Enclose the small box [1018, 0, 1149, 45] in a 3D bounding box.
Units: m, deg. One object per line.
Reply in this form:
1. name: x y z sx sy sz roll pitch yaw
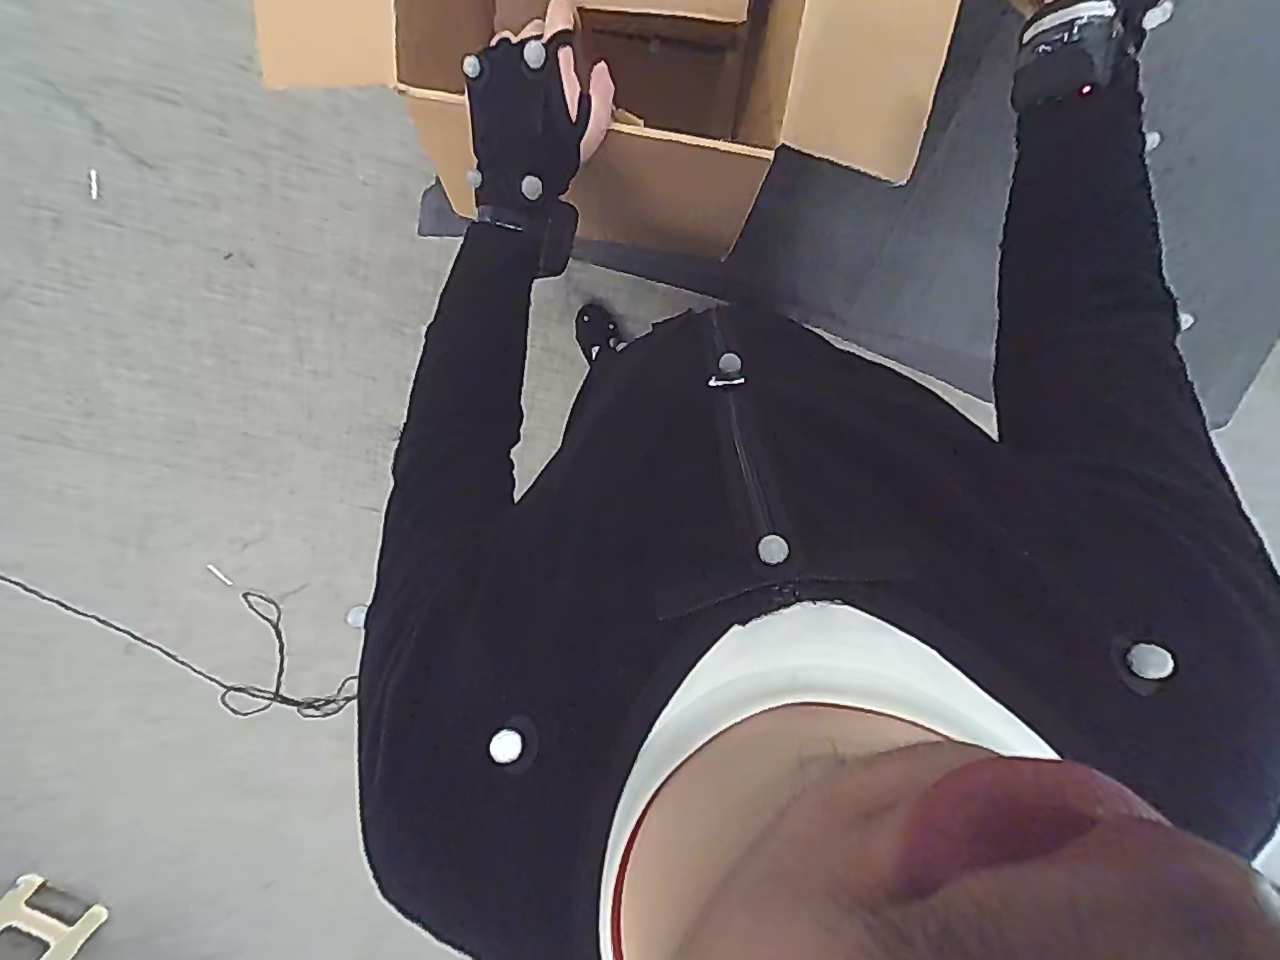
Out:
1. small box: 0.436 -0.538 0.469 0.168 0.176 0.179 33 108 -13
